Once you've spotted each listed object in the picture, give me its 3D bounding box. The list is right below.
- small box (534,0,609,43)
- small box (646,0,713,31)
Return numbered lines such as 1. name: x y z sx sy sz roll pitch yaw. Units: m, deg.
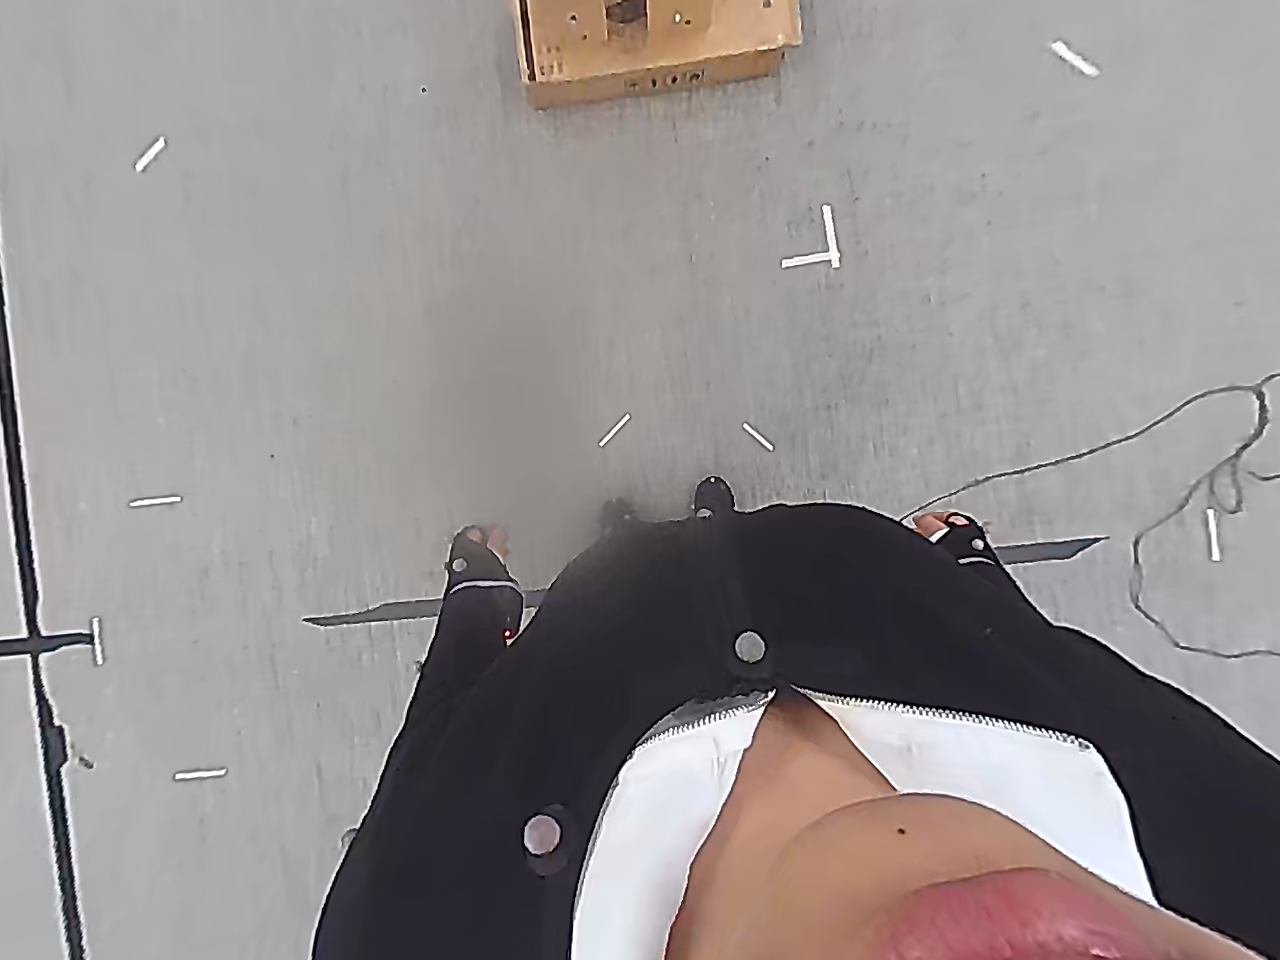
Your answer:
1. small box: -0.173 -1.228 1.337 0.168 0.176 0.179 -5 90 3
2. small box: 0.094 -1.259 1.326 0.168 0.176 0.179 -3 90 4
